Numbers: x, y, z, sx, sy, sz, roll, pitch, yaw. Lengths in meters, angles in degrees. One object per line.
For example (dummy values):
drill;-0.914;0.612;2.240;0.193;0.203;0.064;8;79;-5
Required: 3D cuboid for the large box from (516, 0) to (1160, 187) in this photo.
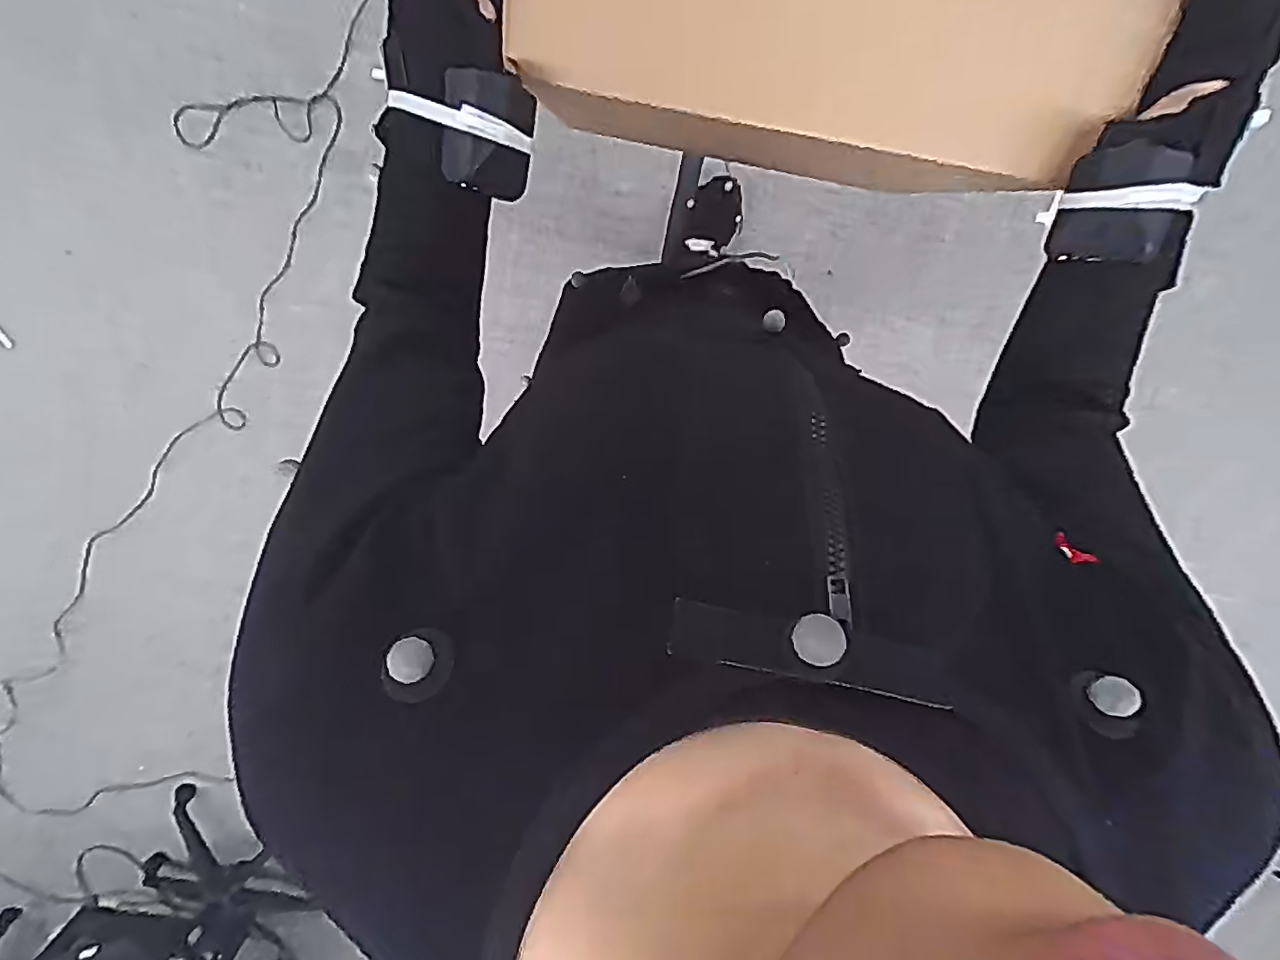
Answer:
large box;0.132;-0.437;0.429;0.408;0.320;0.320;8;118;-5
